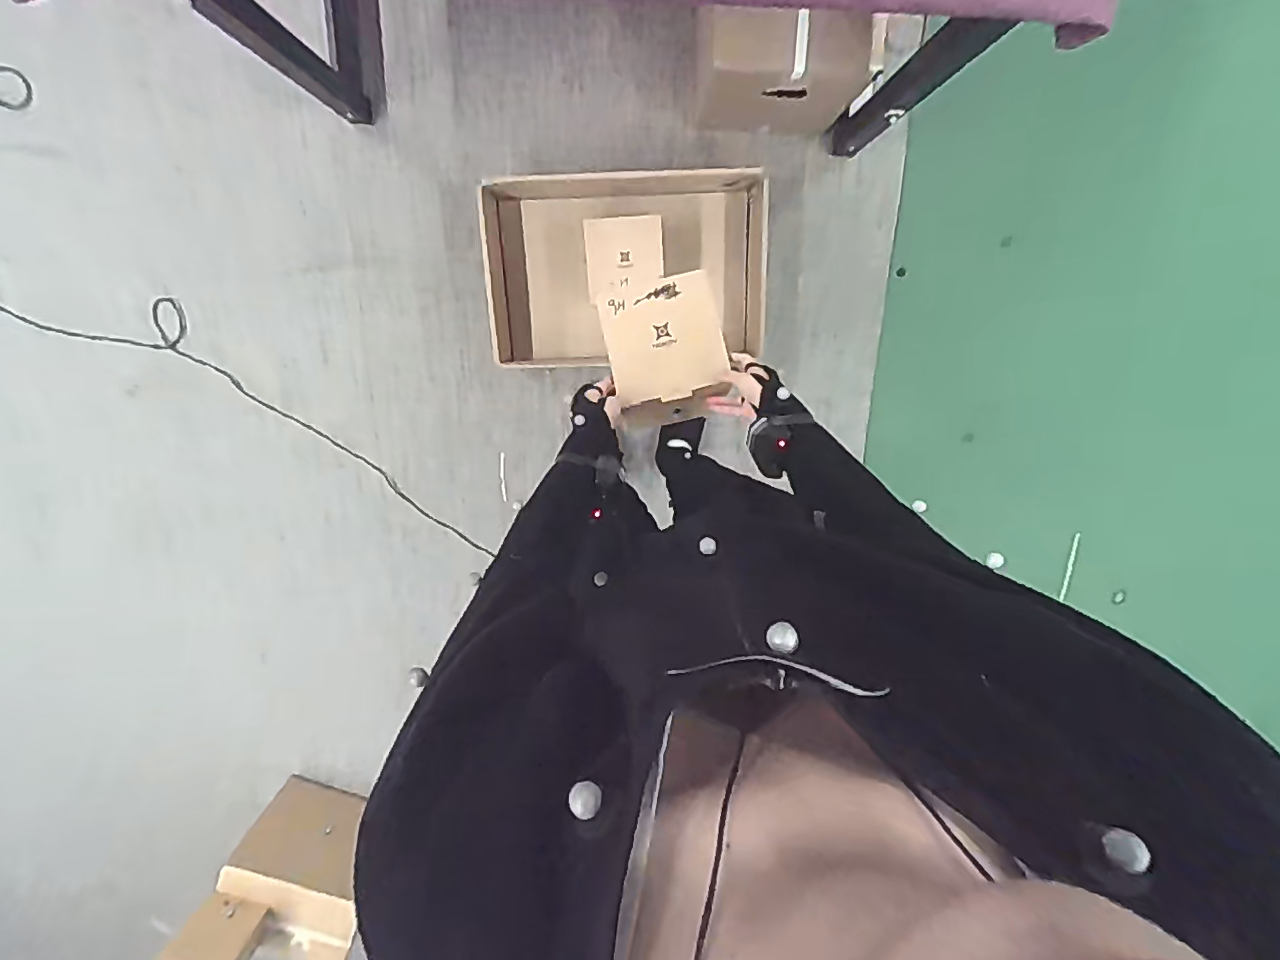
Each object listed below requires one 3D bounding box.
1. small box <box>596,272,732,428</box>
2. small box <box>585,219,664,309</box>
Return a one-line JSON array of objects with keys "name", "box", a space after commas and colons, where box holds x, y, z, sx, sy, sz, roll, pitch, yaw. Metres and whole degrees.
[{"name": "small box", "box": [0.038, -0.186, 0.835, 0.168, 0.176, 0.179, -13, 83, 2]}, {"name": "small box", "box": [-0.032, -0.478, 1.225, 0.168, 0.176, 0.179, -3, 106, 1]}]
